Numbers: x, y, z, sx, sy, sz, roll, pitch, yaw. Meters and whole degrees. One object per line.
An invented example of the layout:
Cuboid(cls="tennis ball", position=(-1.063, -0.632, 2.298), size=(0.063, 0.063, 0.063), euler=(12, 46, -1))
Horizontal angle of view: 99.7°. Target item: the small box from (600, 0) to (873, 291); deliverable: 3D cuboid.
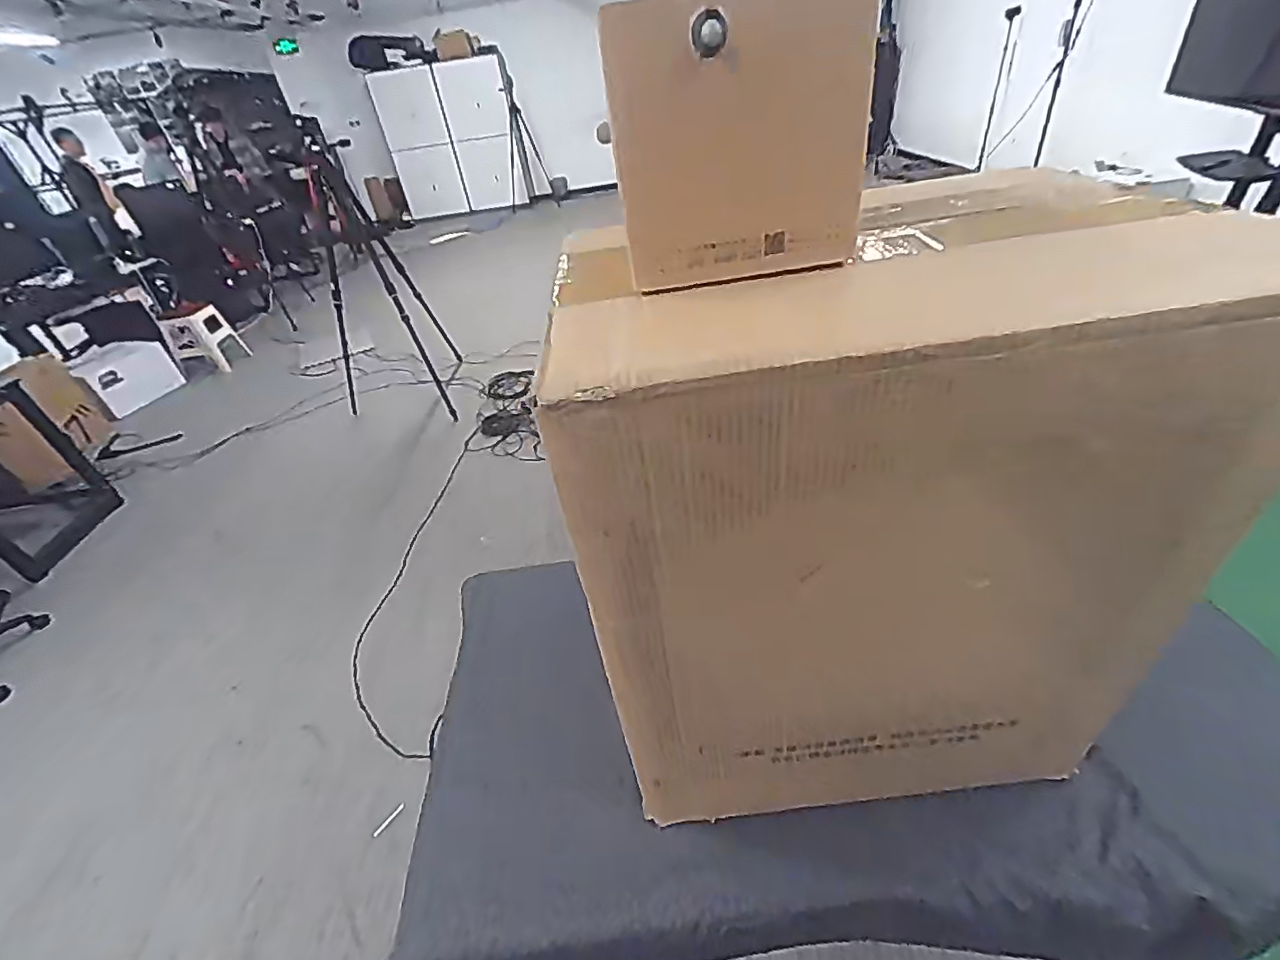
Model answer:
Cuboid(cls="small box", position=(0.065, -0.264, 0.432), size=(0.168, 0.176, 0.179), euler=(-8, 35, 3))
